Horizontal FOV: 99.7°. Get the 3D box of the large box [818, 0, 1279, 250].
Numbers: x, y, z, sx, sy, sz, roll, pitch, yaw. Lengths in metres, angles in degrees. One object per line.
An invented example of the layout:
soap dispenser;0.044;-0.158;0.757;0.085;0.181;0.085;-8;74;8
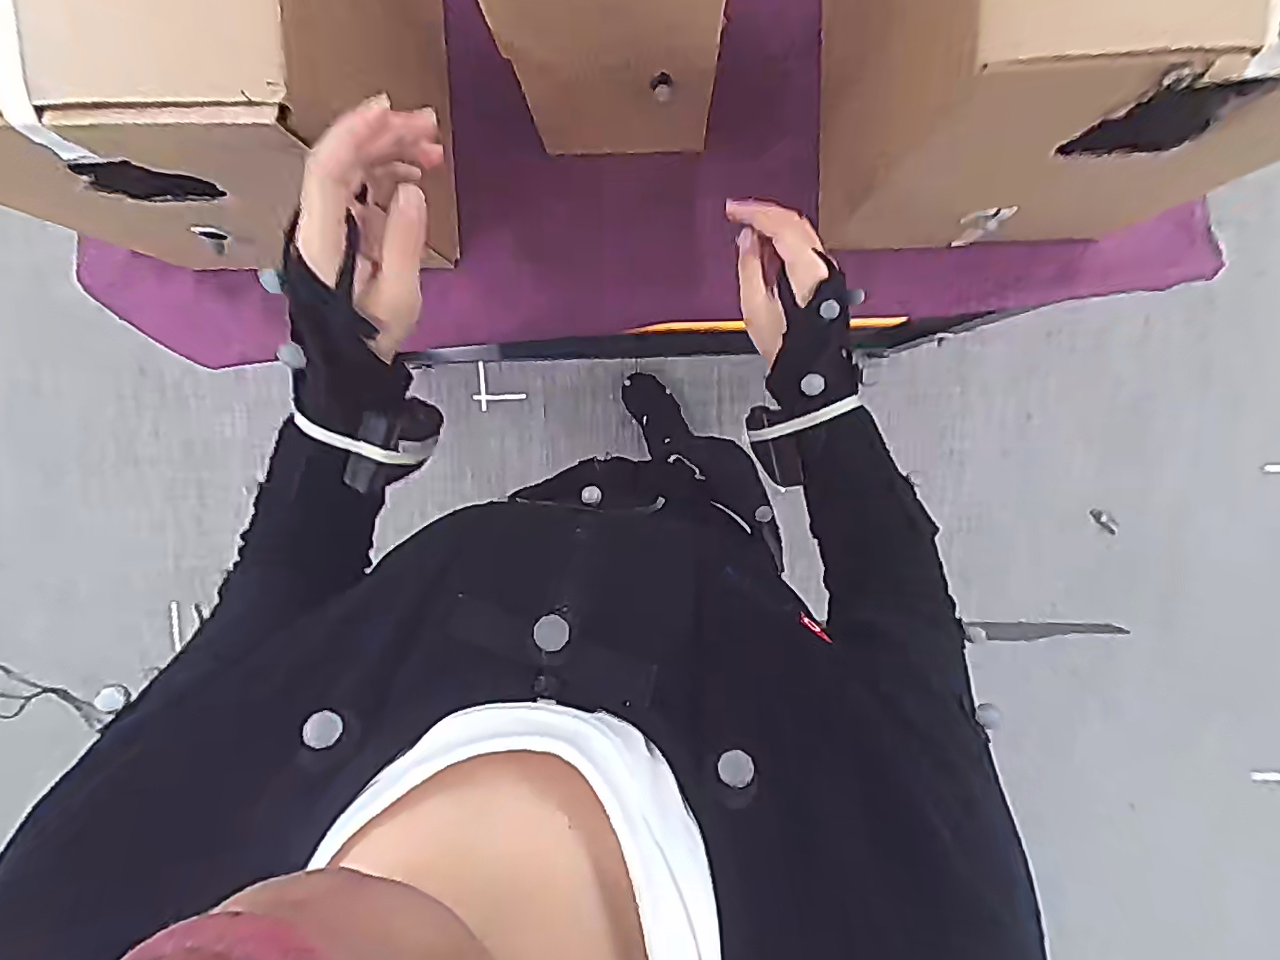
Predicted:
large box;0.337;-0.444;0.427;0.320;0.320;0.408;-2;94;1
